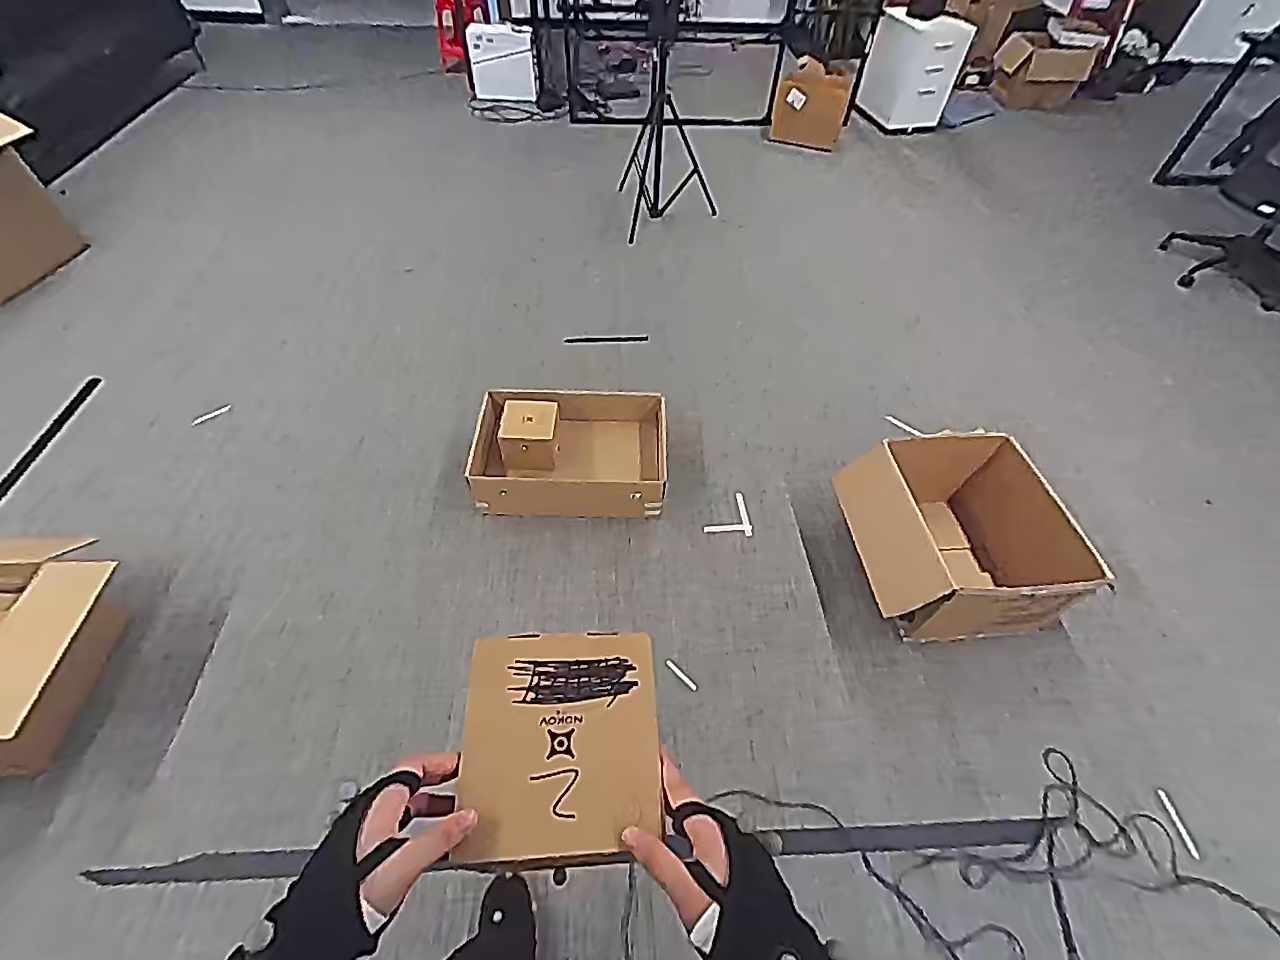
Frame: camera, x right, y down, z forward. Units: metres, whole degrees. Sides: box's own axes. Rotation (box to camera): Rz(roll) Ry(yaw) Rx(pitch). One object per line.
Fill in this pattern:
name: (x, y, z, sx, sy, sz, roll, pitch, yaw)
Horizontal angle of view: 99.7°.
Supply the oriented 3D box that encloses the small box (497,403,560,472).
small box: (-0.371, -0.141, 1.828, 0.179, 0.176, 0.168, 2, 54, -3)
